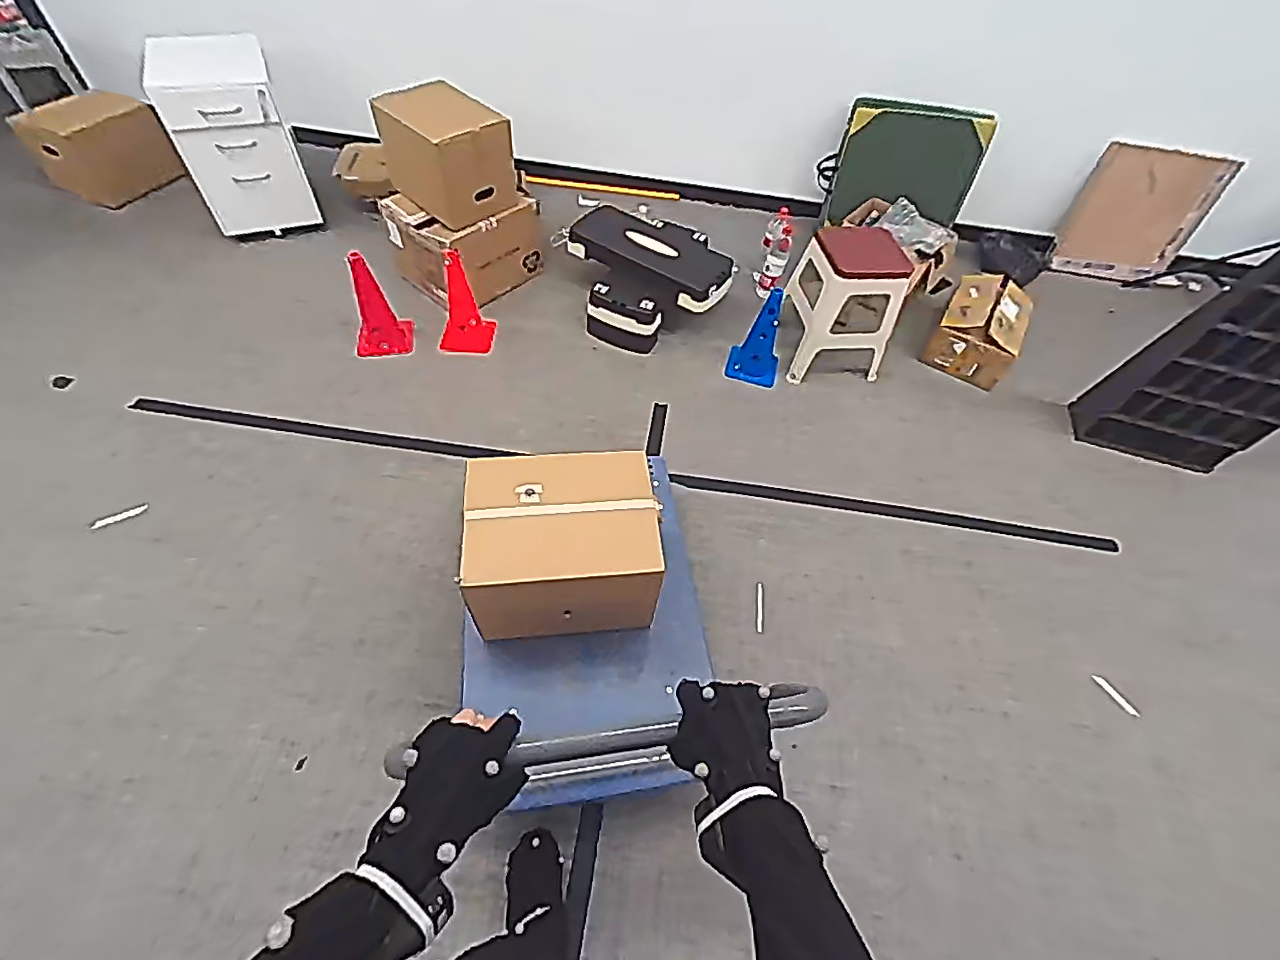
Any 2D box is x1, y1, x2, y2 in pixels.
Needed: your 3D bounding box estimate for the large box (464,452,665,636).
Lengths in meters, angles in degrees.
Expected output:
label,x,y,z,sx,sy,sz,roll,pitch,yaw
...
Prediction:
label,x,y,z,sx,sy,sz,roll,pitch,yaw
large box,-0.172,0.156,1.273,0.408,0.320,0.320,-3,55,-7
